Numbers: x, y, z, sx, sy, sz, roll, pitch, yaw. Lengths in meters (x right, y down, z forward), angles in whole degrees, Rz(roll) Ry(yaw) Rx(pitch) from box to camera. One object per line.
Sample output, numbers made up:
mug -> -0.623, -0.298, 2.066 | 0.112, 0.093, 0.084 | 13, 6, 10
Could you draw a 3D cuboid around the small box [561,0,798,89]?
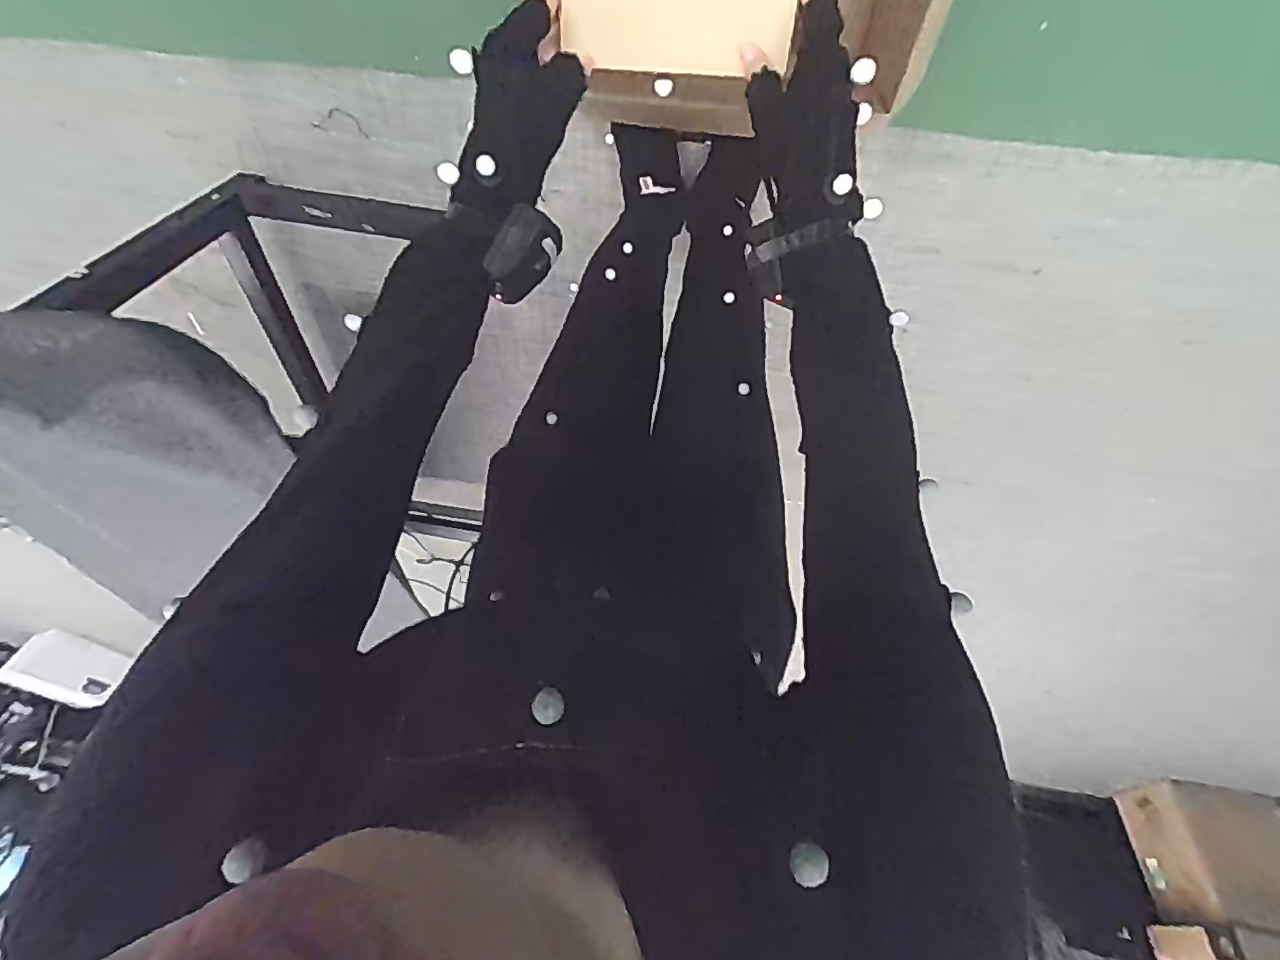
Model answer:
small box -> 0.035, -0.429, 0.435 | 0.179, 0.176, 0.168 | 5, 130, 3
